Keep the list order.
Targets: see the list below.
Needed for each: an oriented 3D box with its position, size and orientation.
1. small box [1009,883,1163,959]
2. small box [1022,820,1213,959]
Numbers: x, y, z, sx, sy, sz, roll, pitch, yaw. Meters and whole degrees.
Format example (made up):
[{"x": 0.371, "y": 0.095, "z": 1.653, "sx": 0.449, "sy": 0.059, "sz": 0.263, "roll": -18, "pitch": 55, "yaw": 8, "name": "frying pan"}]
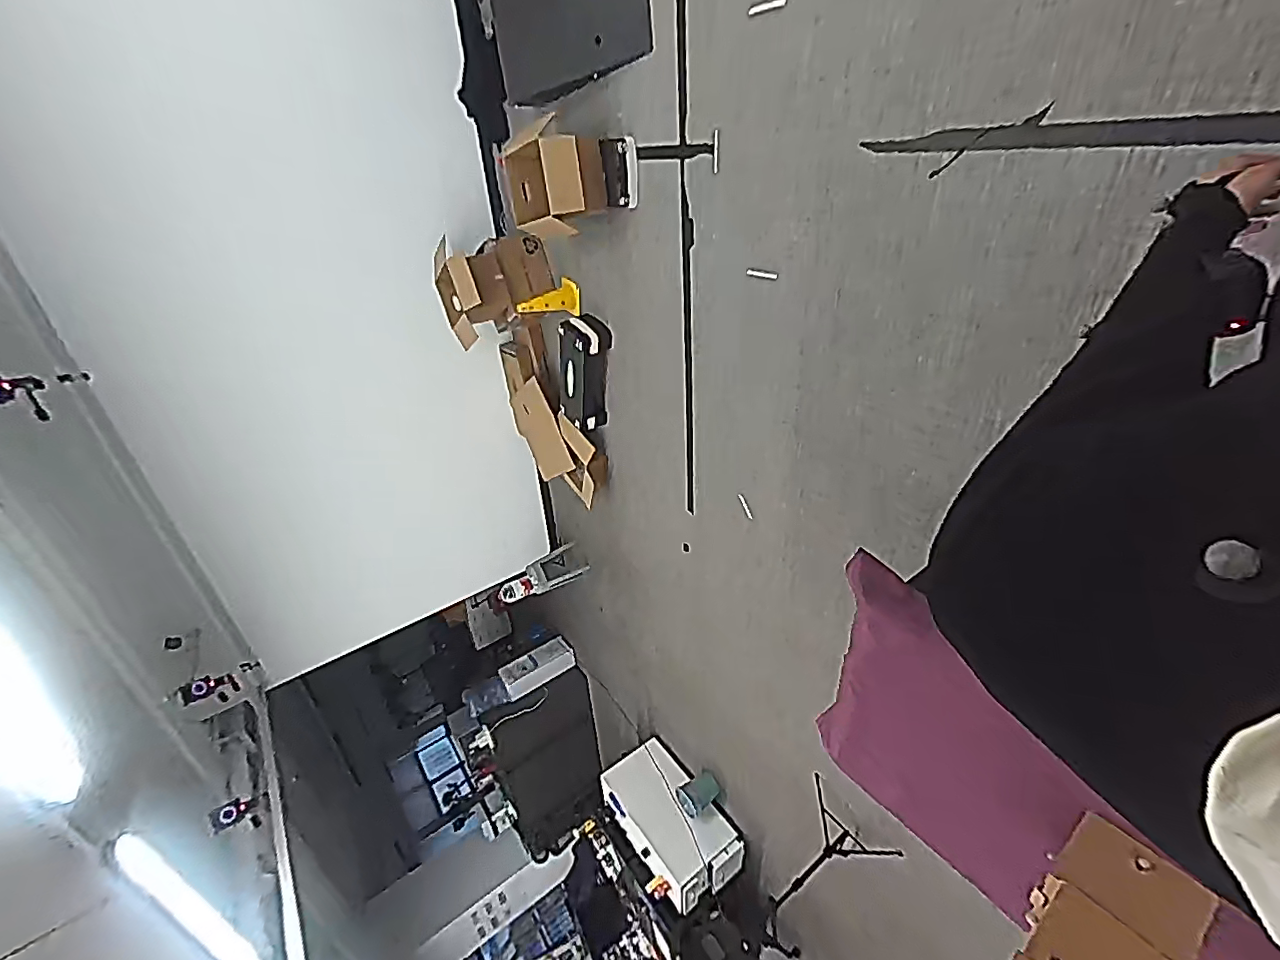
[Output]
[{"x": 0.680, "y": 0.778, "z": 0.822, "sx": 0.179, "sy": 0.176, "sz": 0.168, "roll": 32, "pitch": 137, "yaw": 47, "name": "small box"}, {"x": 0.802, "y": 0.723, "z": 0.918, "sx": 0.179, "sy": 0.176, "sz": 0.168, "roll": 32, "pitch": 137, "yaw": 48, "name": "small box"}]
